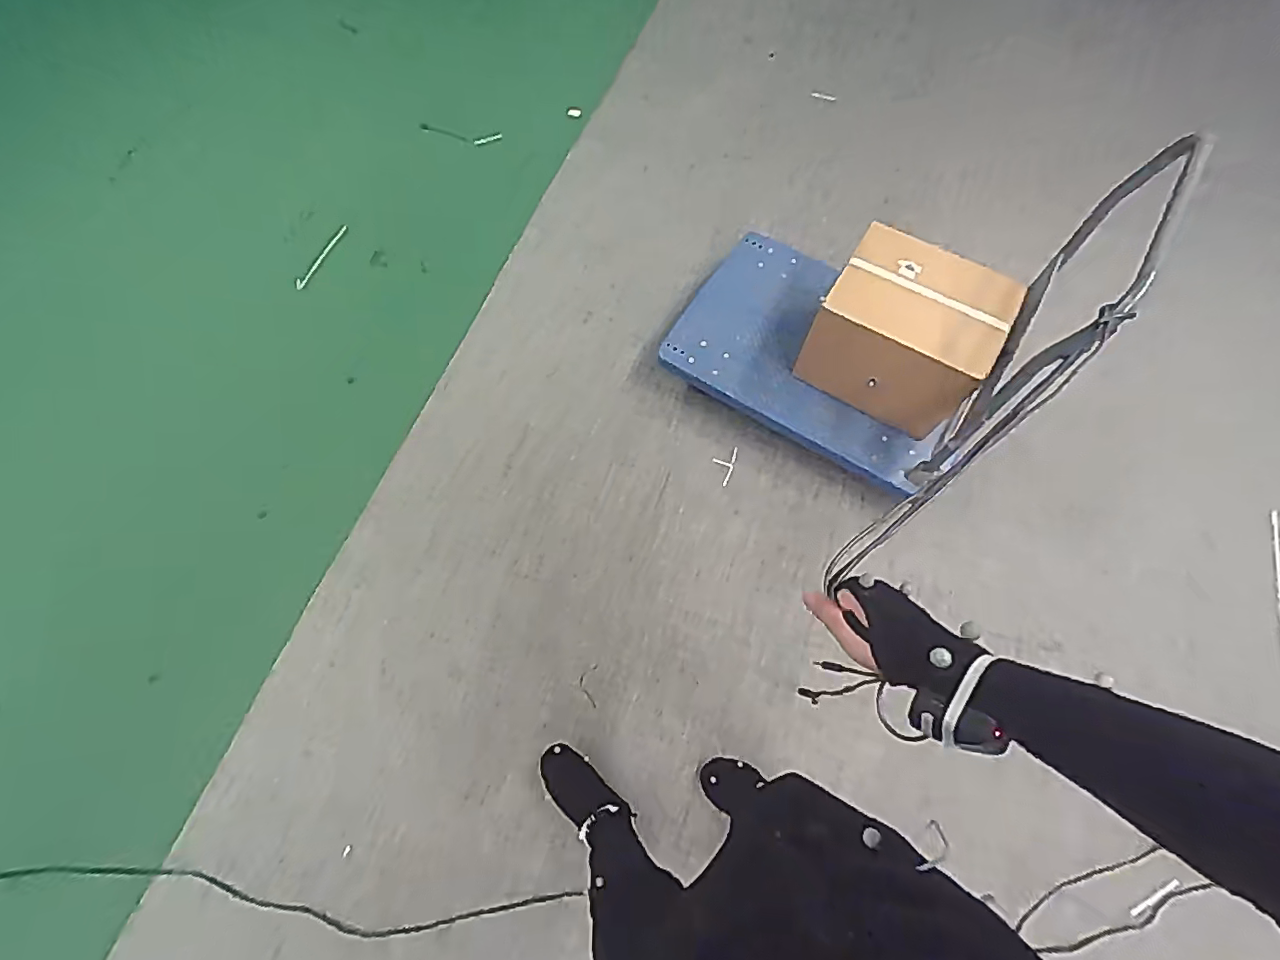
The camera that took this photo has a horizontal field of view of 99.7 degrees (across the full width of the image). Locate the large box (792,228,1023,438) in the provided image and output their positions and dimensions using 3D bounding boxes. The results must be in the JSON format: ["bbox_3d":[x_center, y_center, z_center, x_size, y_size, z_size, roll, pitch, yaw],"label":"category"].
[{"bbox_3d":[0.674,-0.373,1.422,0.408,0.320,0.320,30,72,14],"label":"large box"}]
